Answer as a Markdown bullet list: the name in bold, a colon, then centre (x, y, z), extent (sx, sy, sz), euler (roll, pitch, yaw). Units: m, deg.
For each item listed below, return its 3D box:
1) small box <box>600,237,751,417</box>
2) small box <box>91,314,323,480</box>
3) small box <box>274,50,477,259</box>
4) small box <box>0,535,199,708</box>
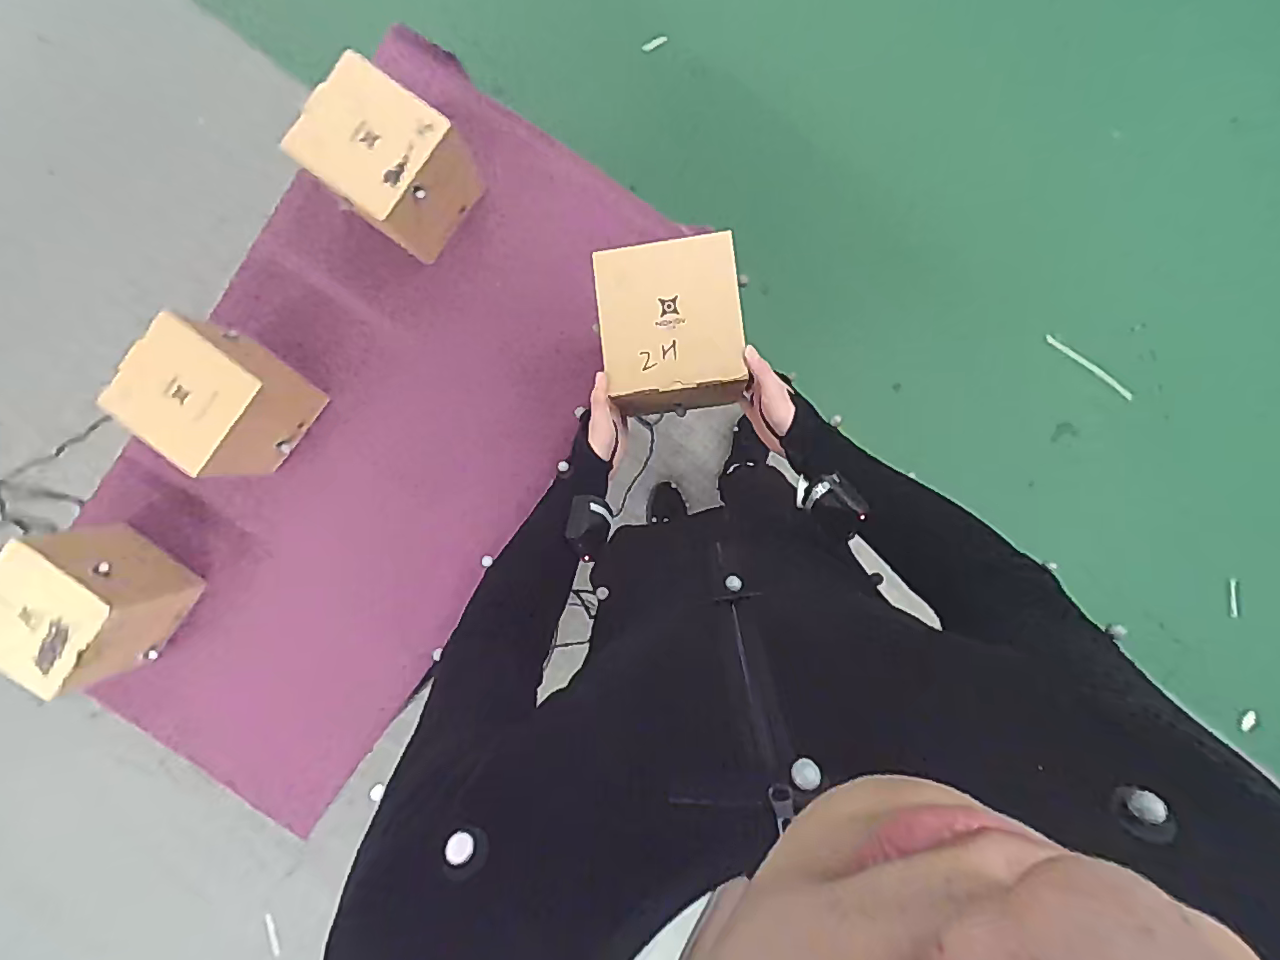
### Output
- **small box**: centre (0.047, -0.186, 0.706), extent (0.168, 0.176, 0.179), euler (-6, 89, 6)
- **small box**: centre (-0.637, -0.115, 0.819), extent (0.179, 0.176, 0.168), euler (37, 92, -3)
- **small box**: centre (-0.377, -0.465, 0.805), extent (0.179, 0.176, 0.168), euler (36, 93, -2)
- **small box**: centre (-0.844, 0.201, 0.827), extent (0.179, 0.176, 0.168), euler (36, 91, -2)
